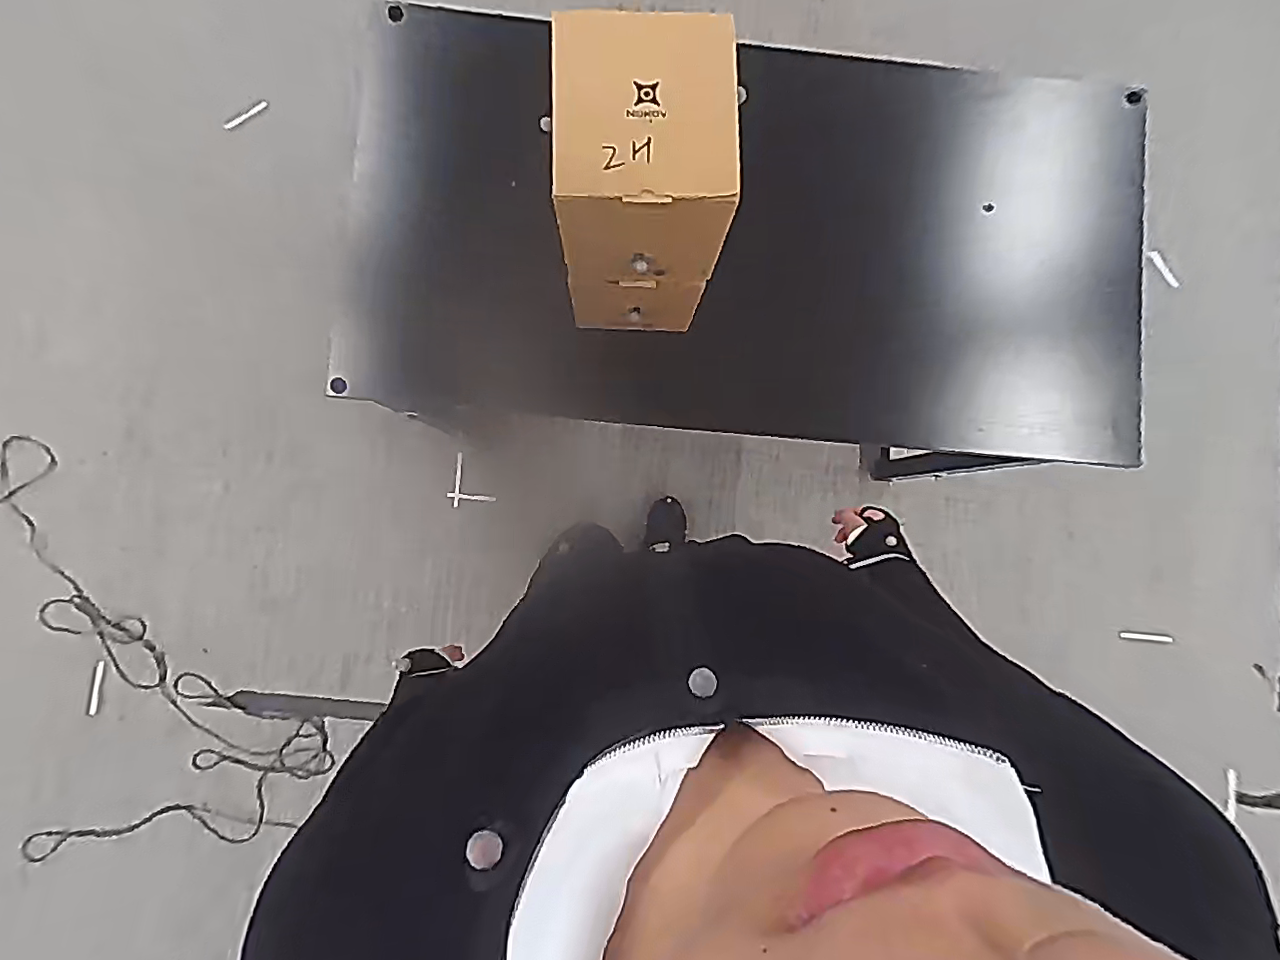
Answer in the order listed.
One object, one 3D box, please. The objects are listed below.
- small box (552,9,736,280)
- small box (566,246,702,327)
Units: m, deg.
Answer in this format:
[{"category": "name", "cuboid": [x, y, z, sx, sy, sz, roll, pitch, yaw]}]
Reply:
[{"category": "small box", "cuboid": [0.001, -0.331, 0.562, 0.168, 0.176, 0.179, -1, 86, -2]}, {"category": "small box", "cuboid": [-0.006, -0.315, 0.727, 0.168, 0.176, 0.179, 1, 86, -2]}]
